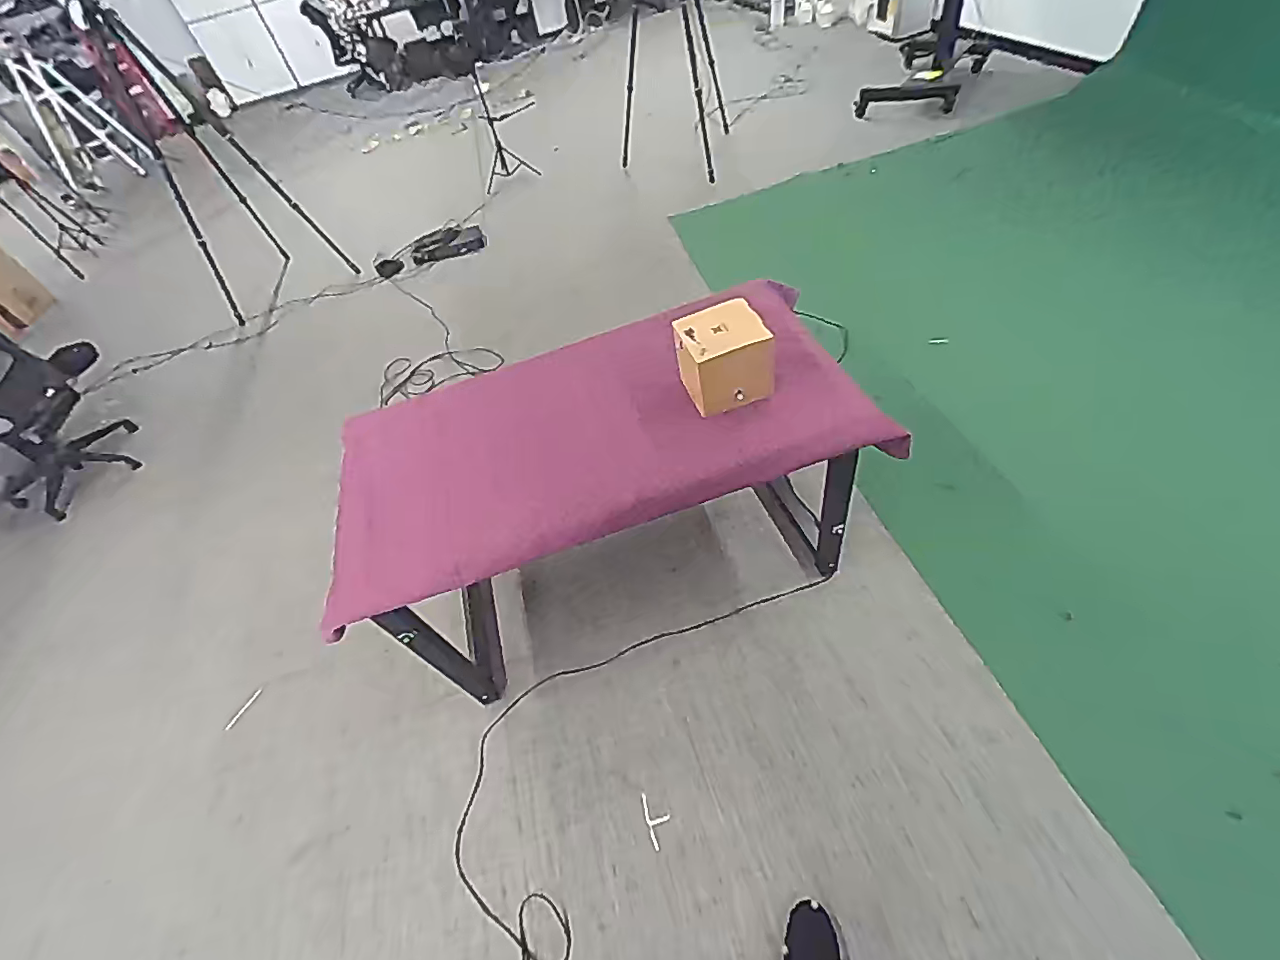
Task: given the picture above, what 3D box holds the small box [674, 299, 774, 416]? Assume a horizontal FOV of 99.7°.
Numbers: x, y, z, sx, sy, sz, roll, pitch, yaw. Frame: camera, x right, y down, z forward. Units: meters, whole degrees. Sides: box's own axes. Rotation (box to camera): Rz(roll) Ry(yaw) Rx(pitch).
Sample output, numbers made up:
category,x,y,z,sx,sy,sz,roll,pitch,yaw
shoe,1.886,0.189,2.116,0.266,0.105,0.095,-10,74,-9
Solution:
category,x,y,z,sx,sy,sz,roll,pitch,yaw
small box,0.189,-0.275,1.229,0.179,0.176,0.168,-19,50,-3
